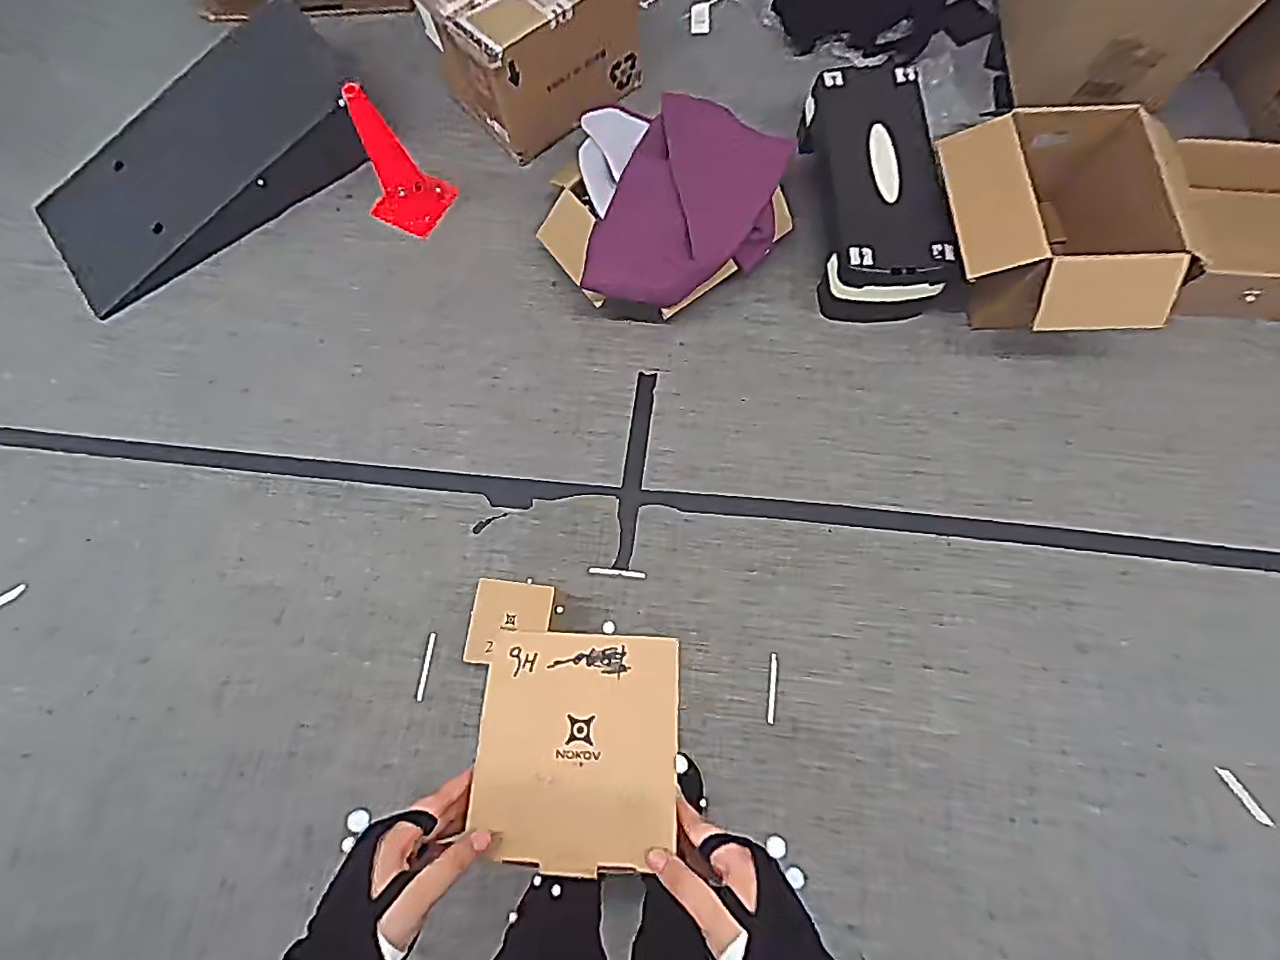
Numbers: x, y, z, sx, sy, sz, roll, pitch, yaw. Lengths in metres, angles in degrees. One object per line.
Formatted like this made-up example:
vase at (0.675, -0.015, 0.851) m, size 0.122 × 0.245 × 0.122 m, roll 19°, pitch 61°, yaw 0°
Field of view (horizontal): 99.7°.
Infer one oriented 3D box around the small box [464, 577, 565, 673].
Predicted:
small box at (-0.267, 0.321, 1.201) m, size 0.168 × 0.176 × 0.179 m, roll 7°, pitch 75°, yaw 4°
